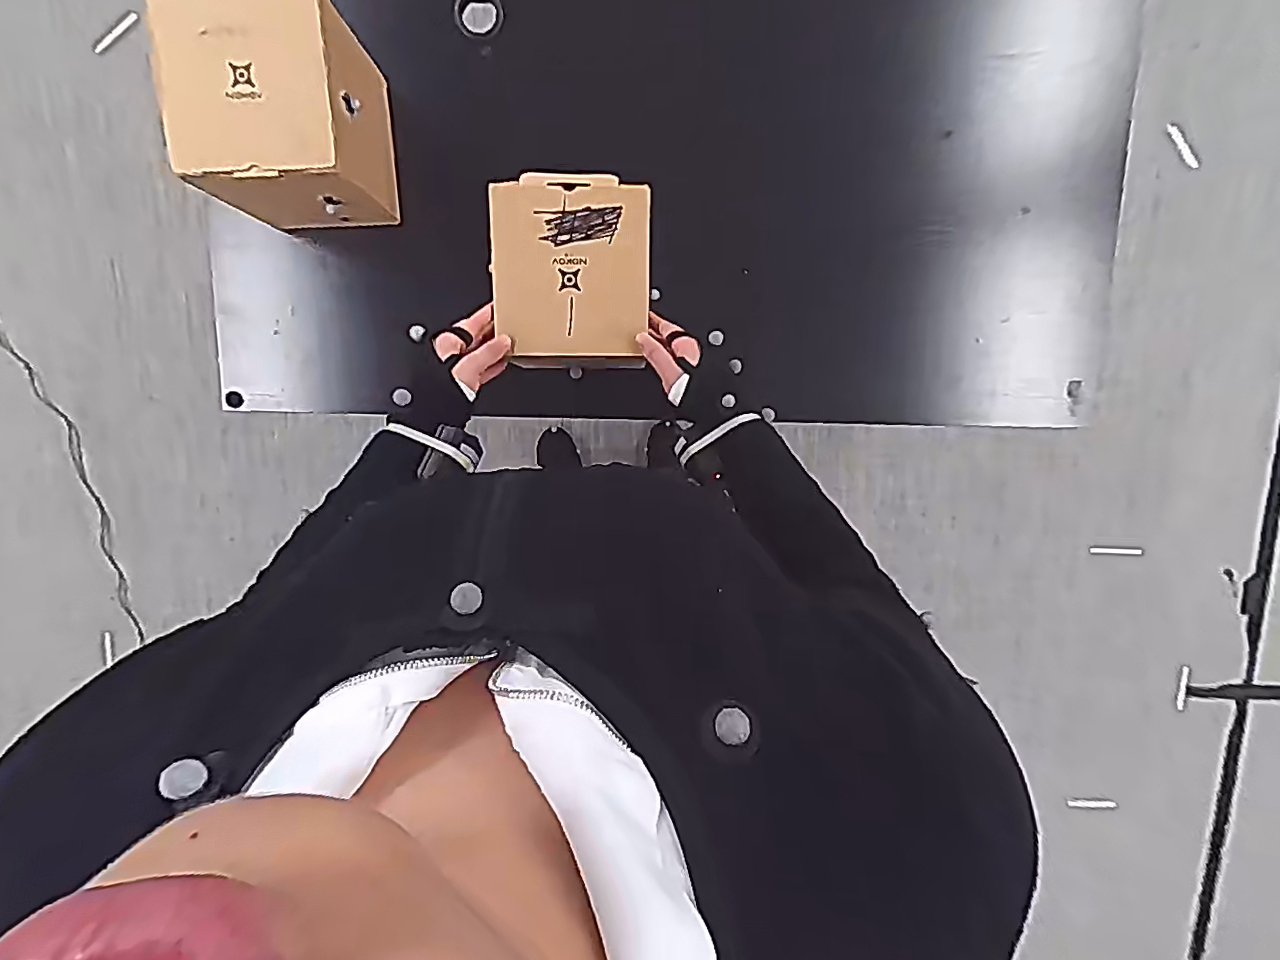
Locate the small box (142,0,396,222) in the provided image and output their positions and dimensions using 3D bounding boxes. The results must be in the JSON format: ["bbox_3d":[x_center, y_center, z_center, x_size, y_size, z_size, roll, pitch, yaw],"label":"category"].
[{"bbox_3d":[-0.391,-0.402,0.605,0.168,0.176,0.179,-3,97,-3],"label":"small box"}]

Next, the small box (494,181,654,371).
[{"bbox_3d":[-0.072,-0.225,0.639,0.168,0.176,0.179,0,98,-2],"label":"small box"}]
